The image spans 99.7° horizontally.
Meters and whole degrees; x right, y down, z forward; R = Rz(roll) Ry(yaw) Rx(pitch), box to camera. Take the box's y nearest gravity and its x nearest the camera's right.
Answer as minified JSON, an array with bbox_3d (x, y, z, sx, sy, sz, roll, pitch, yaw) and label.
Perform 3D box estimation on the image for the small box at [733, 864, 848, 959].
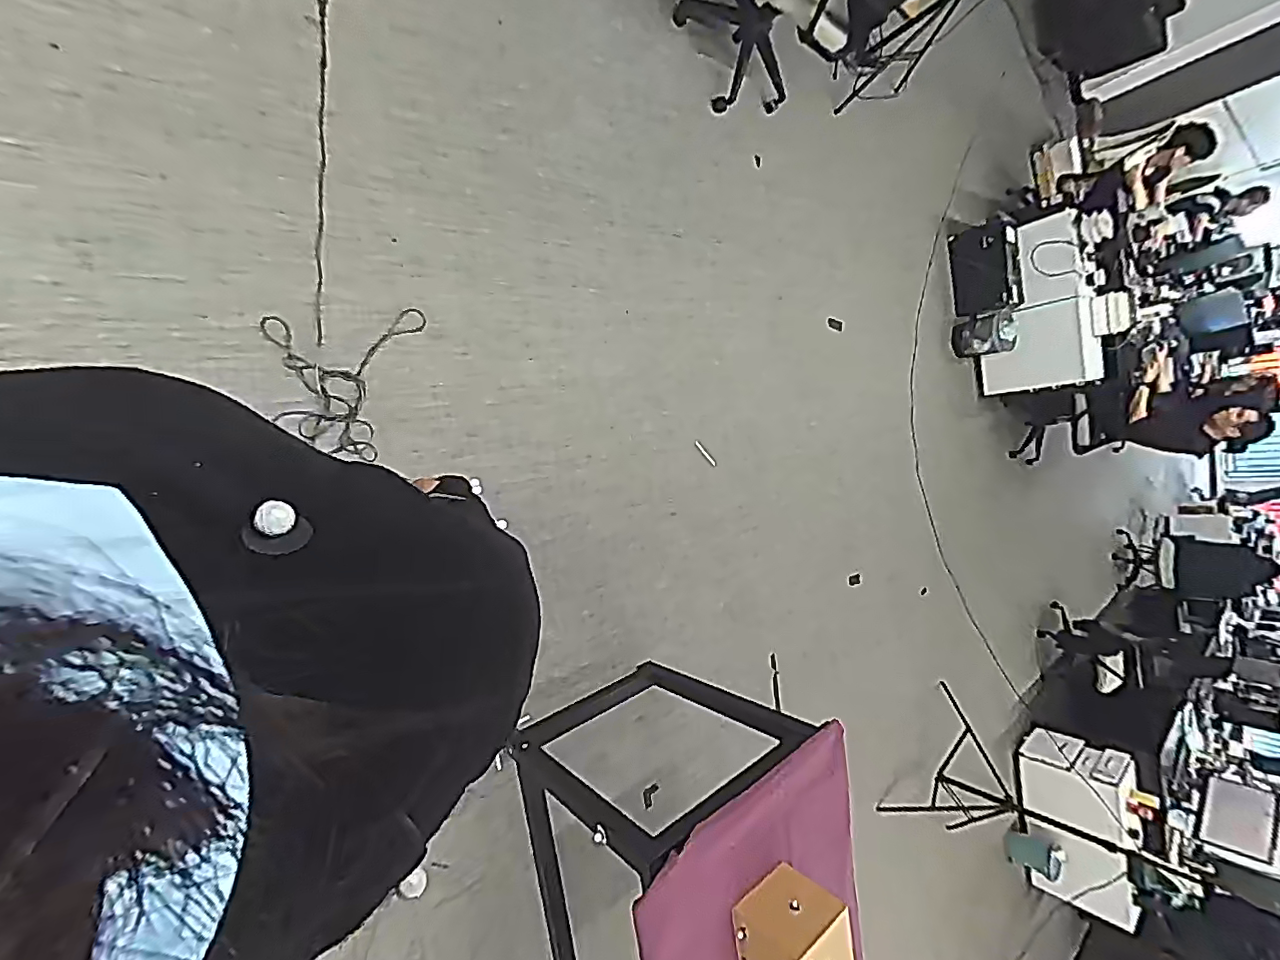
[{"bbox_3d":[0.310,0.967,1.132,0.179,0.176,0.168,-12,96,-37],"label":"small box"}]
